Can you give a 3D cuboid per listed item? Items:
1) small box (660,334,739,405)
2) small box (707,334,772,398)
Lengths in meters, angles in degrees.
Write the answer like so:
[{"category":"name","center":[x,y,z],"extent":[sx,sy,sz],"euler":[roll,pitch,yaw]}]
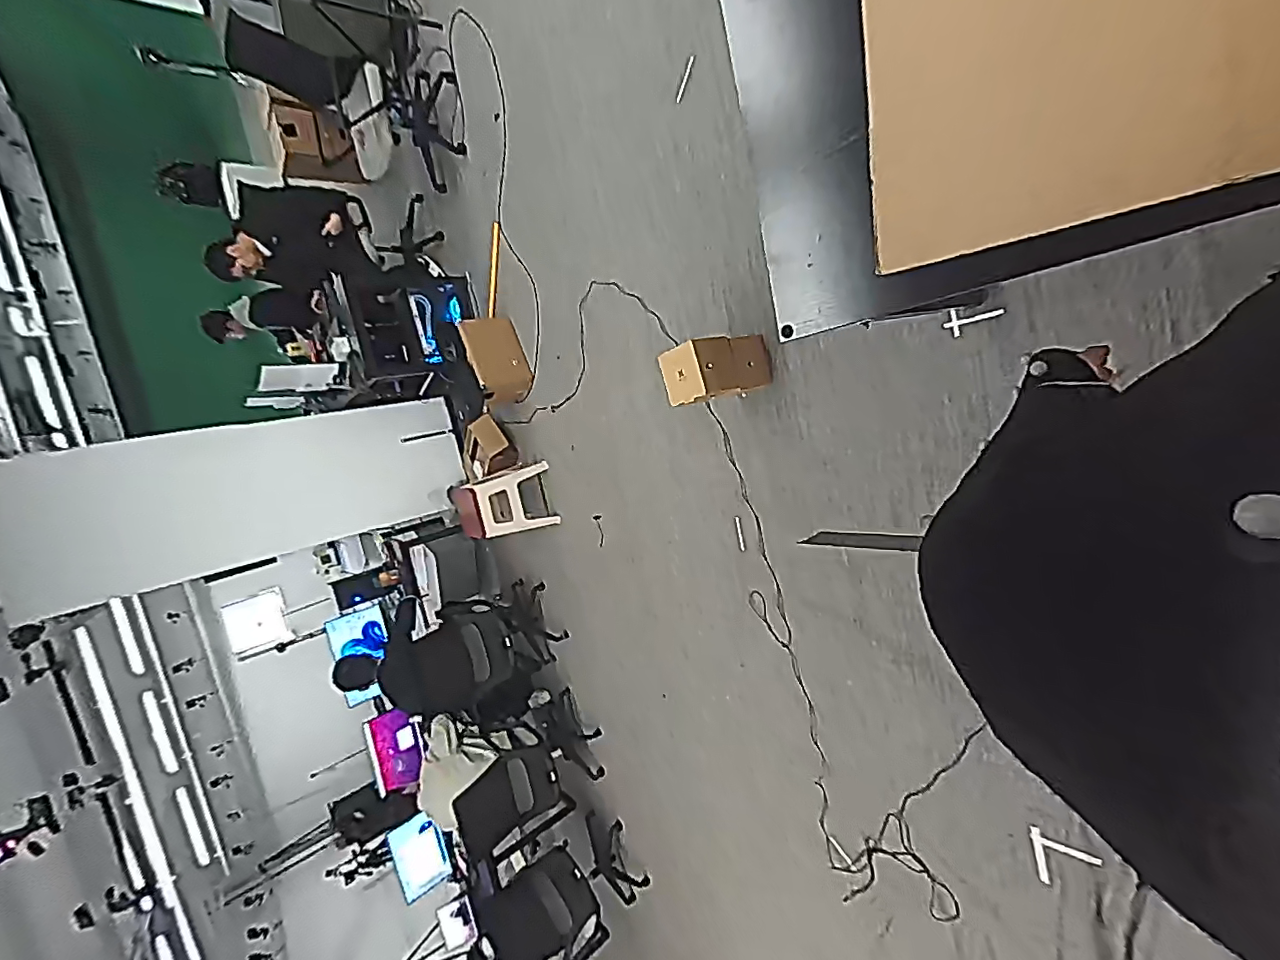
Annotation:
[{"category":"small box","center":[0.196,-0.358,1.744],"extent":[0.168,0.176,0.179],"euler":[-14,92,52]},{"category":"small box","center":[0.322,-0.390,1.843],"extent":[0.168,0.176,0.179],"euler":[-9,97,53]}]
